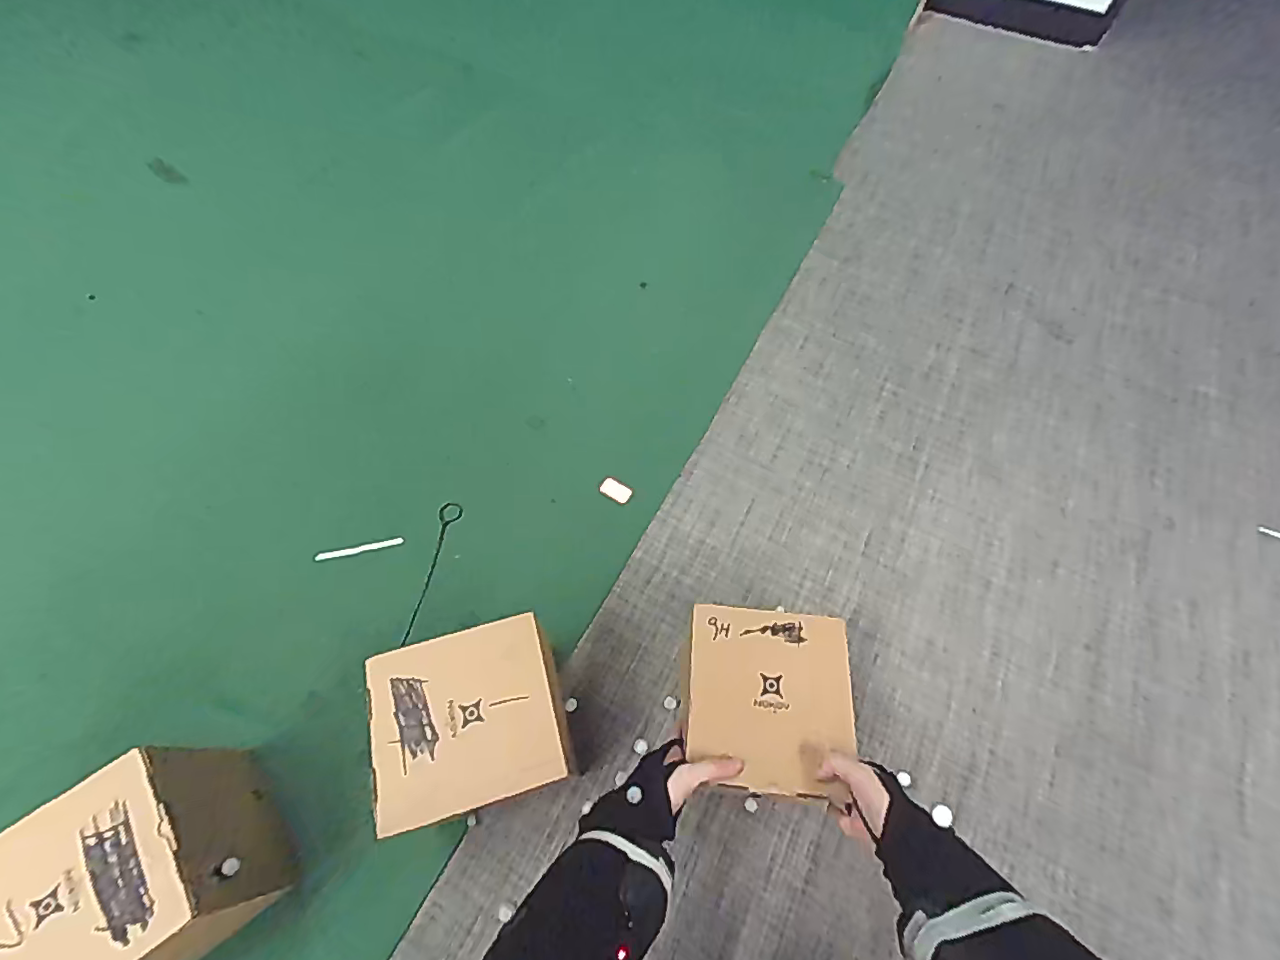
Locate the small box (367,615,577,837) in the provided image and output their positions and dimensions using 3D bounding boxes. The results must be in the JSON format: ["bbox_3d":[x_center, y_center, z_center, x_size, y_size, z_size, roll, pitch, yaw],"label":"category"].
[{"bbox_3d":[-0.177,0.272,0.601,0.179,0.176,0.168,-14,63,-10],"label":"small box"}]

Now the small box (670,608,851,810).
[{"bbox_3d":[0.125,0.260,0.615,0.168,0.176,0.179,5,61,2],"label":"small box"}]
